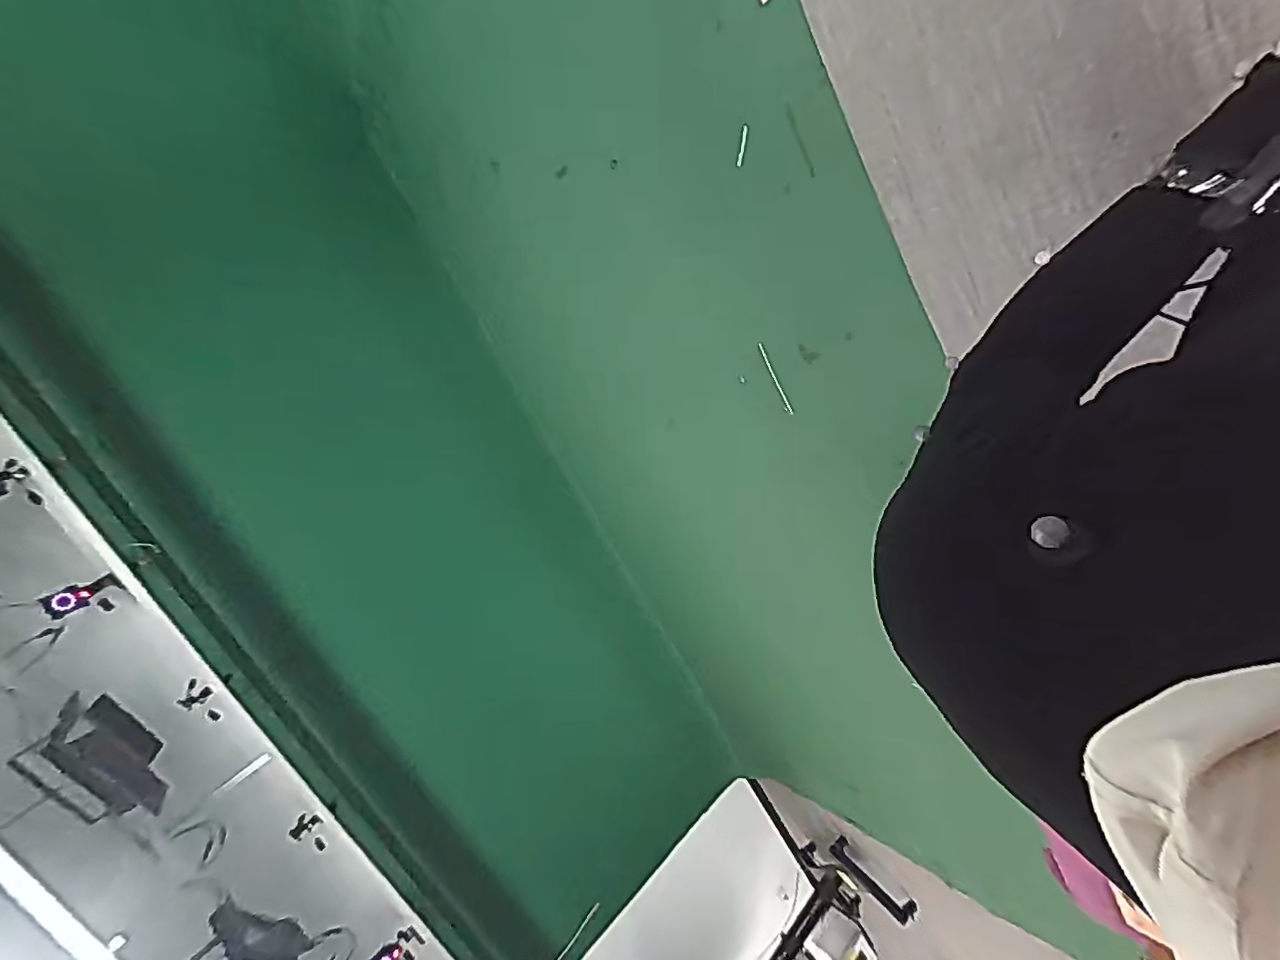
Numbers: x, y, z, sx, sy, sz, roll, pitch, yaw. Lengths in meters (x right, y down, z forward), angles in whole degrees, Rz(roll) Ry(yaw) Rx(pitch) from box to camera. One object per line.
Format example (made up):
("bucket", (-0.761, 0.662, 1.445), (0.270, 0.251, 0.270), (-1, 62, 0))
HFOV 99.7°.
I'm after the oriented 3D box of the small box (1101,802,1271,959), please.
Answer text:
("small box", (0.970, 0.718, 0.958), (0.179, 0.176, 0.168), (-6, 117, 59))
